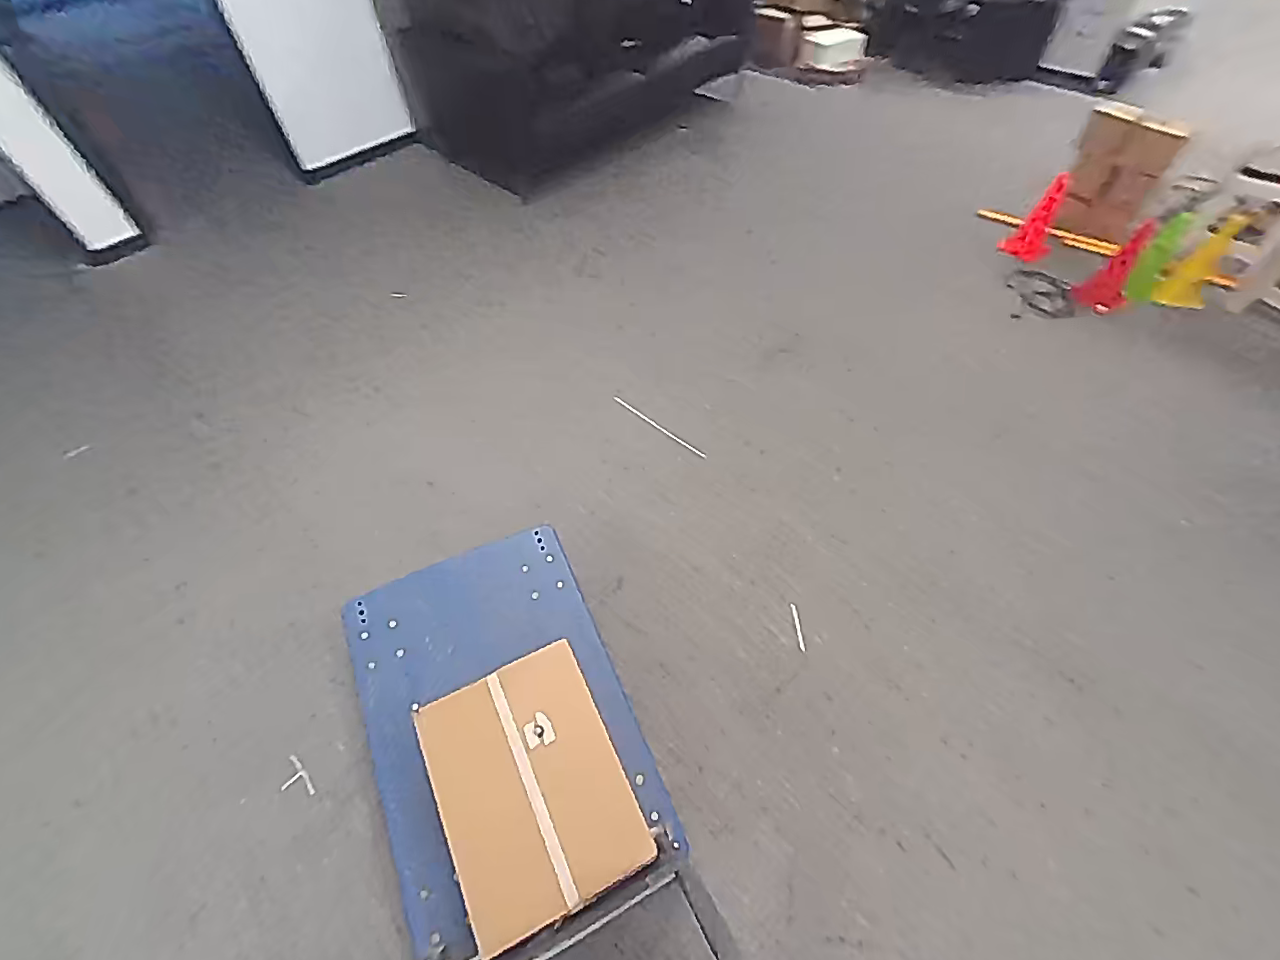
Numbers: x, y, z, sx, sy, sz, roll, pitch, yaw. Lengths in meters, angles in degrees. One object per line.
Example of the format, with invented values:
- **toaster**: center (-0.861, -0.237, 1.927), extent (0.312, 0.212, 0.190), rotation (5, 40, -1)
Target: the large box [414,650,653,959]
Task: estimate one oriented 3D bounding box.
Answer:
- **large box**: center (-0.203, 0.627, 1.103), extent (0.320, 0.320, 0.408), rotation (-23, 64, -15)
